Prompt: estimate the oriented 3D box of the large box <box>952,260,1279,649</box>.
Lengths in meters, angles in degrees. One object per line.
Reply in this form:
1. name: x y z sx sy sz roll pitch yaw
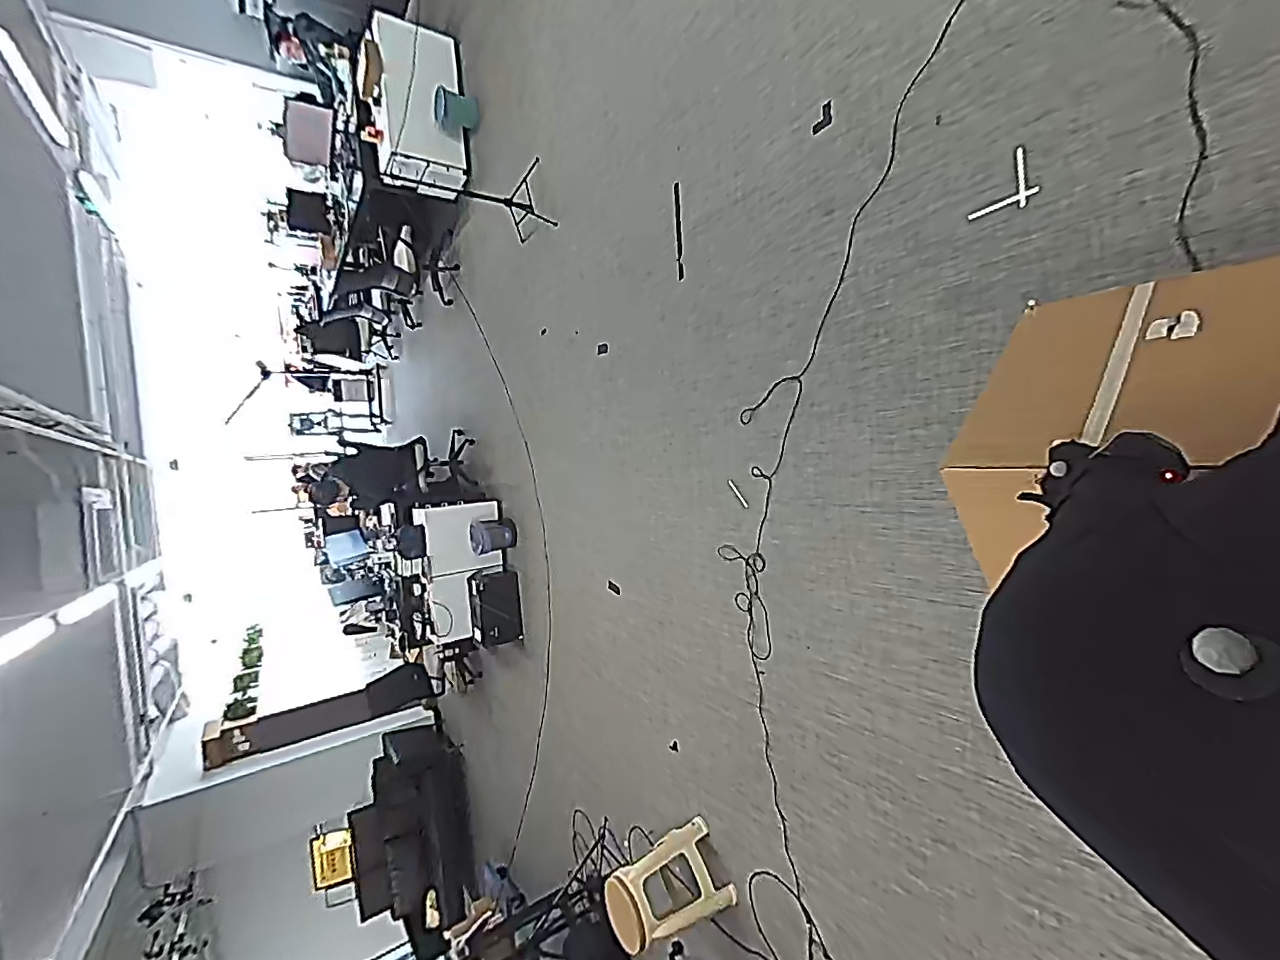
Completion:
1. large box: 0.711 -0.038 0.767 0.320 0.408 0.320 3 135 53
